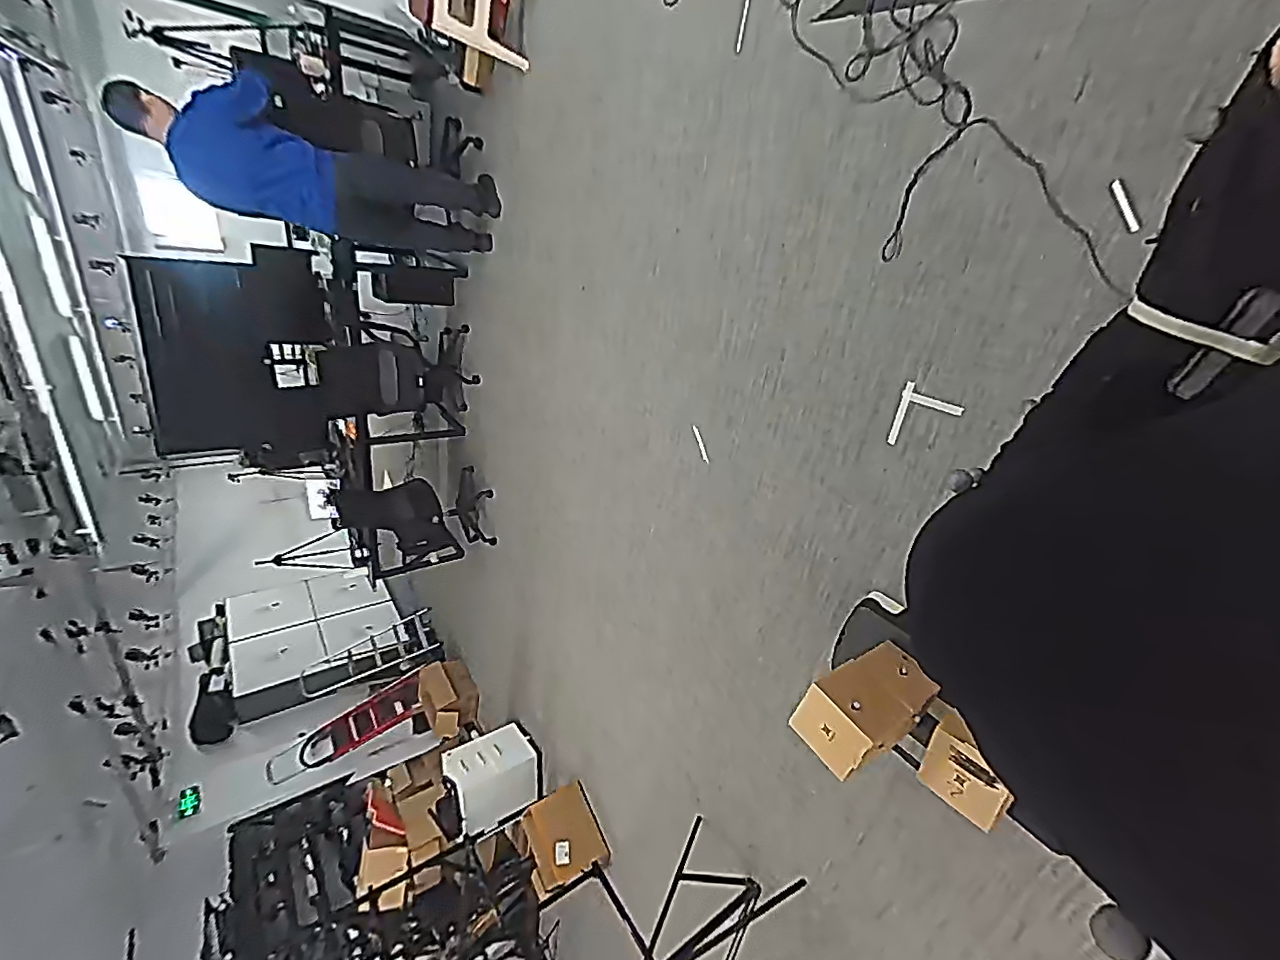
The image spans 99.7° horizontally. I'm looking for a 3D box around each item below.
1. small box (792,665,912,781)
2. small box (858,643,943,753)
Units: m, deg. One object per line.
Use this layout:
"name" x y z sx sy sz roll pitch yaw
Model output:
"small box" 0.513 0.576 1.314 0.179 0.176 0.168 43 131 38
"small box" 0.650 0.555 1.401 0.168 0.176 0.179 41 131 41
